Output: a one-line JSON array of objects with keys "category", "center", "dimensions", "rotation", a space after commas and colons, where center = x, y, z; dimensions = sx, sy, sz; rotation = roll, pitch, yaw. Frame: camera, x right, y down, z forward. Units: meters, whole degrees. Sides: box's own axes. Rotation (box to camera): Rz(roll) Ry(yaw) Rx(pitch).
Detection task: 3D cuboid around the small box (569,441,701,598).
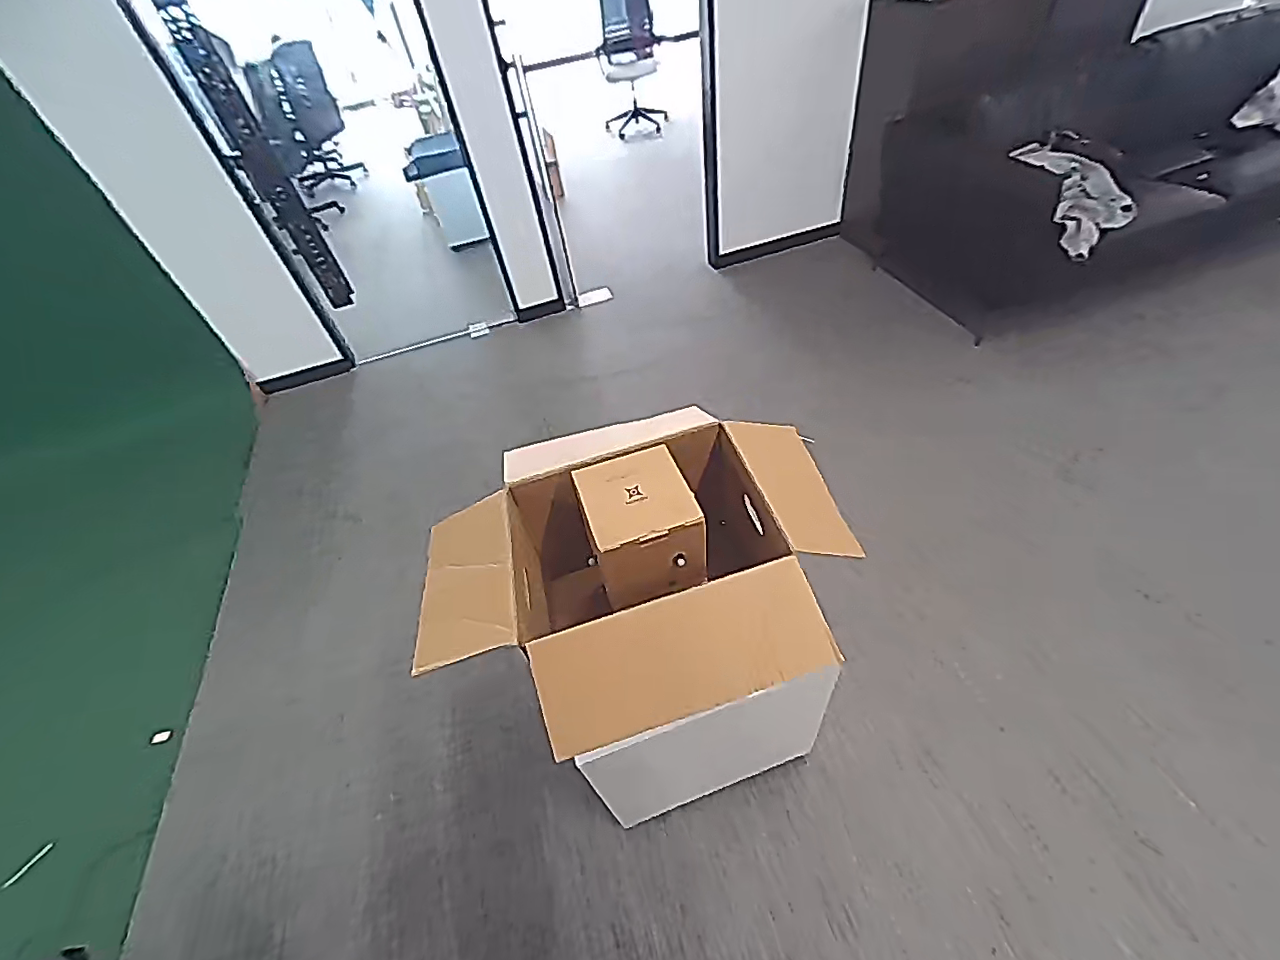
[{"category": "small box", "center": [-0.004, 0.071, 0.881], "dimensions": [0.168, 0.176, 0.179], "rotation": [-16, 46, -9]}]
